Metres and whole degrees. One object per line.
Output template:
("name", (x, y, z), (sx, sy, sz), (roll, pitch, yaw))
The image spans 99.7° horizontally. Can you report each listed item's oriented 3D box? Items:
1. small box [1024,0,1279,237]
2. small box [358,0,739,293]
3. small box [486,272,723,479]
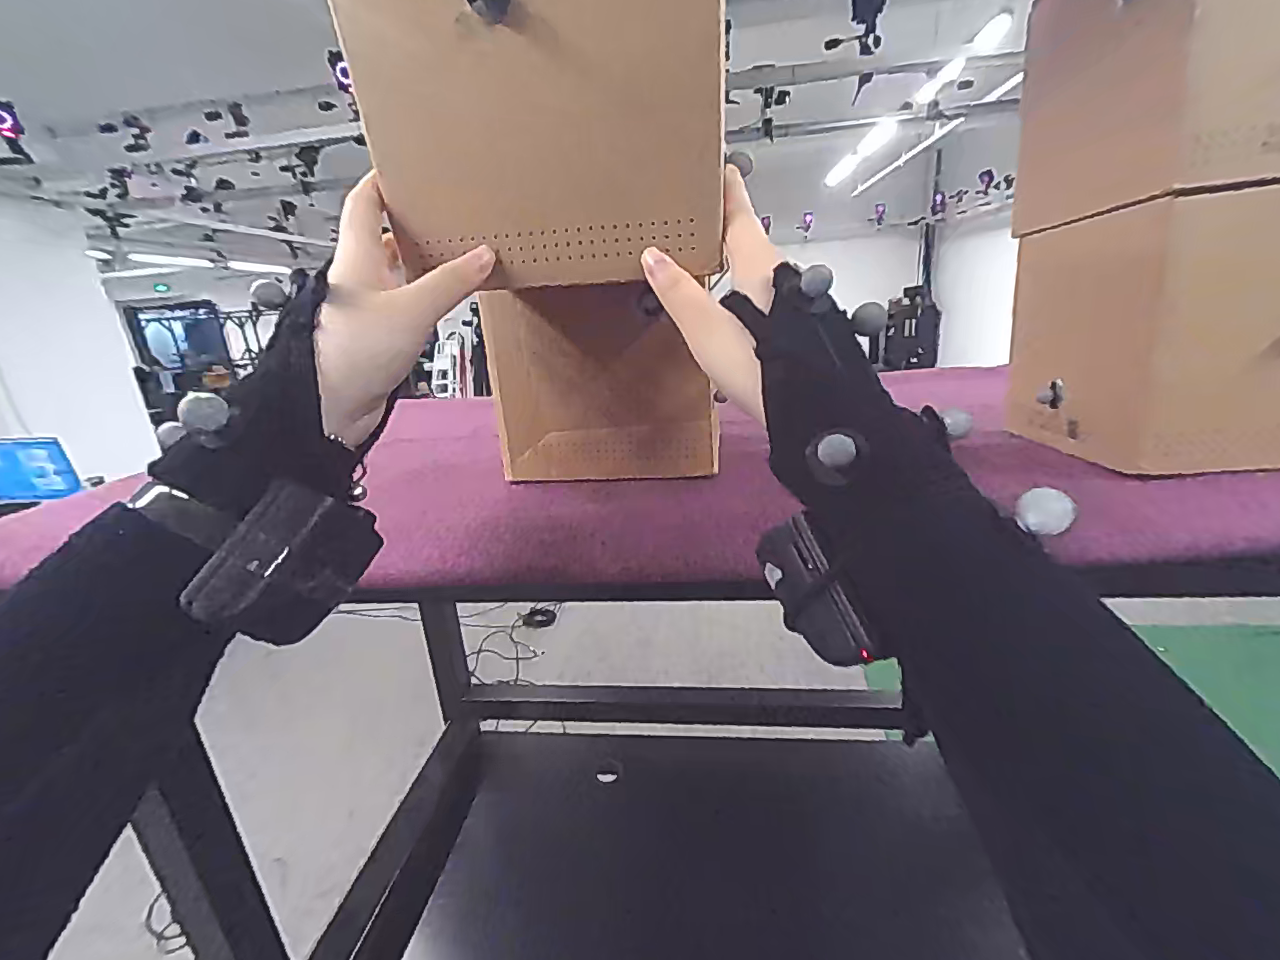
("small box", (0.379, -0.265, 0.343), (0.168, 0.176, 0.179), (-3, 16, 9))
("small box", (-0.033, -0.210, 0.313), (0.179, 0.176, 0.168), (1, 30, 9))
("small box", (-0.018, -0.101, 0.483), (0.179, 0.176, 0.168), (-1, 17, 9))
